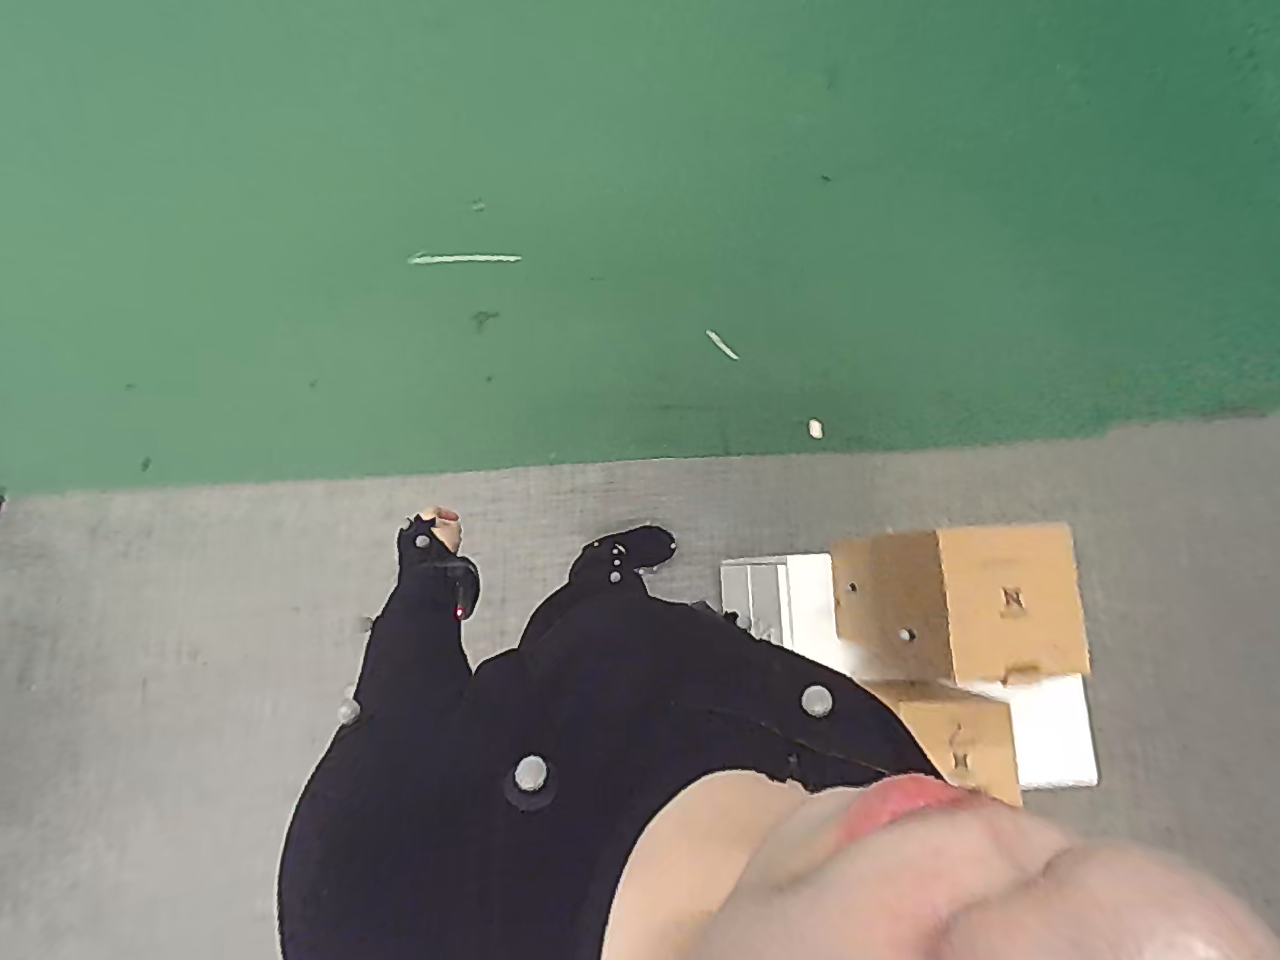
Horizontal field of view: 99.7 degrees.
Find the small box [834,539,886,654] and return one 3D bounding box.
[{"bbox_3d":[0.420,0.179,0.855,0.179,0.176,0.168,0,82,-4],"label":"small box"}]

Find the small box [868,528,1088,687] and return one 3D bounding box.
[{"bbox_3d":[0.415,0.154,0.694,0.168,0.176,0.179,-1,81,-5],"label":"small box"}]
